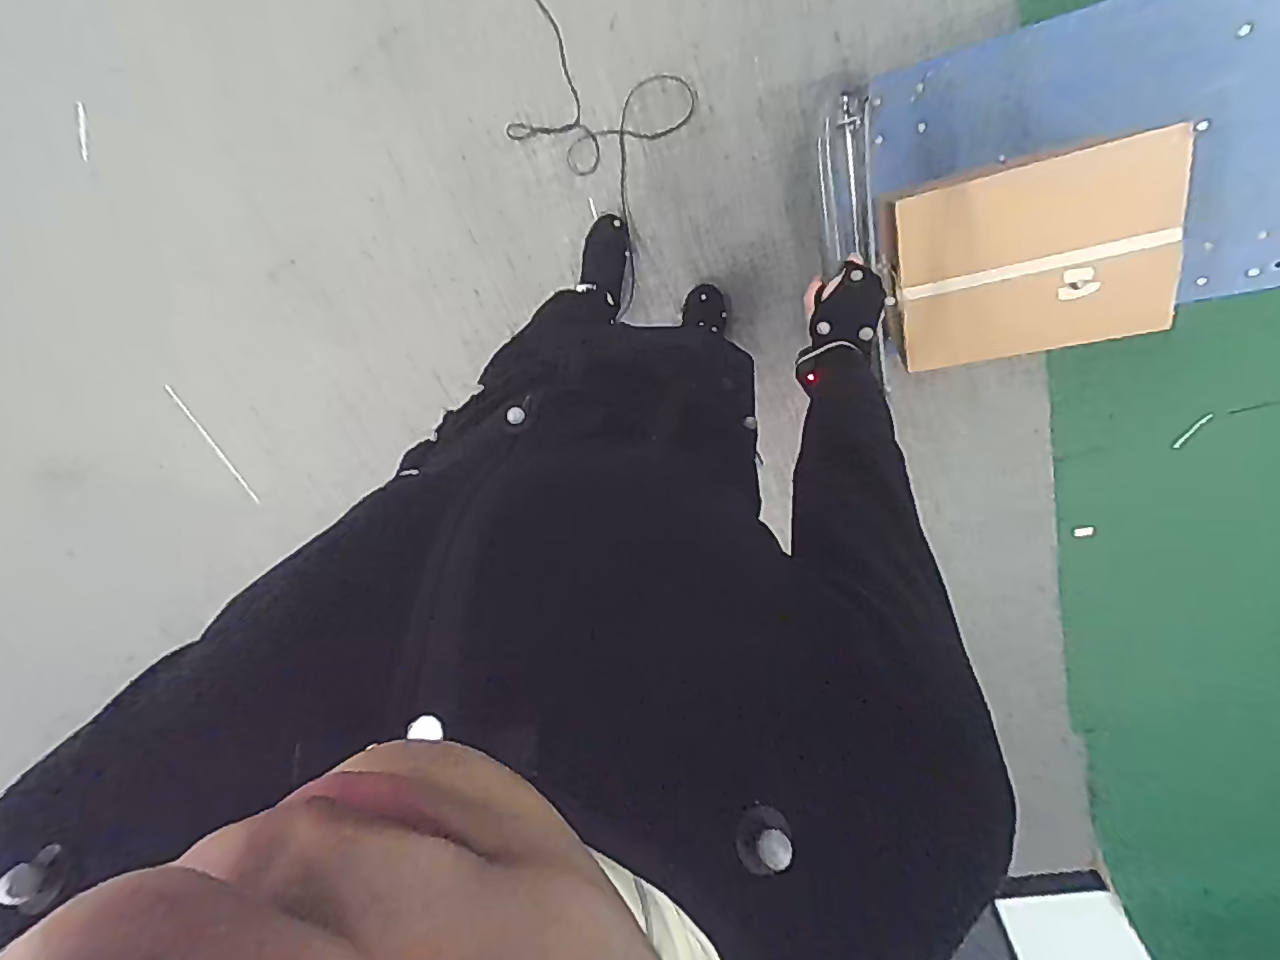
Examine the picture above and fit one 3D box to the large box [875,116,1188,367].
[{"bbox_3d":[0.705,-0.448,1.054,0.408,0.320,0.320,-8,116,20],"label":"large box"}]
